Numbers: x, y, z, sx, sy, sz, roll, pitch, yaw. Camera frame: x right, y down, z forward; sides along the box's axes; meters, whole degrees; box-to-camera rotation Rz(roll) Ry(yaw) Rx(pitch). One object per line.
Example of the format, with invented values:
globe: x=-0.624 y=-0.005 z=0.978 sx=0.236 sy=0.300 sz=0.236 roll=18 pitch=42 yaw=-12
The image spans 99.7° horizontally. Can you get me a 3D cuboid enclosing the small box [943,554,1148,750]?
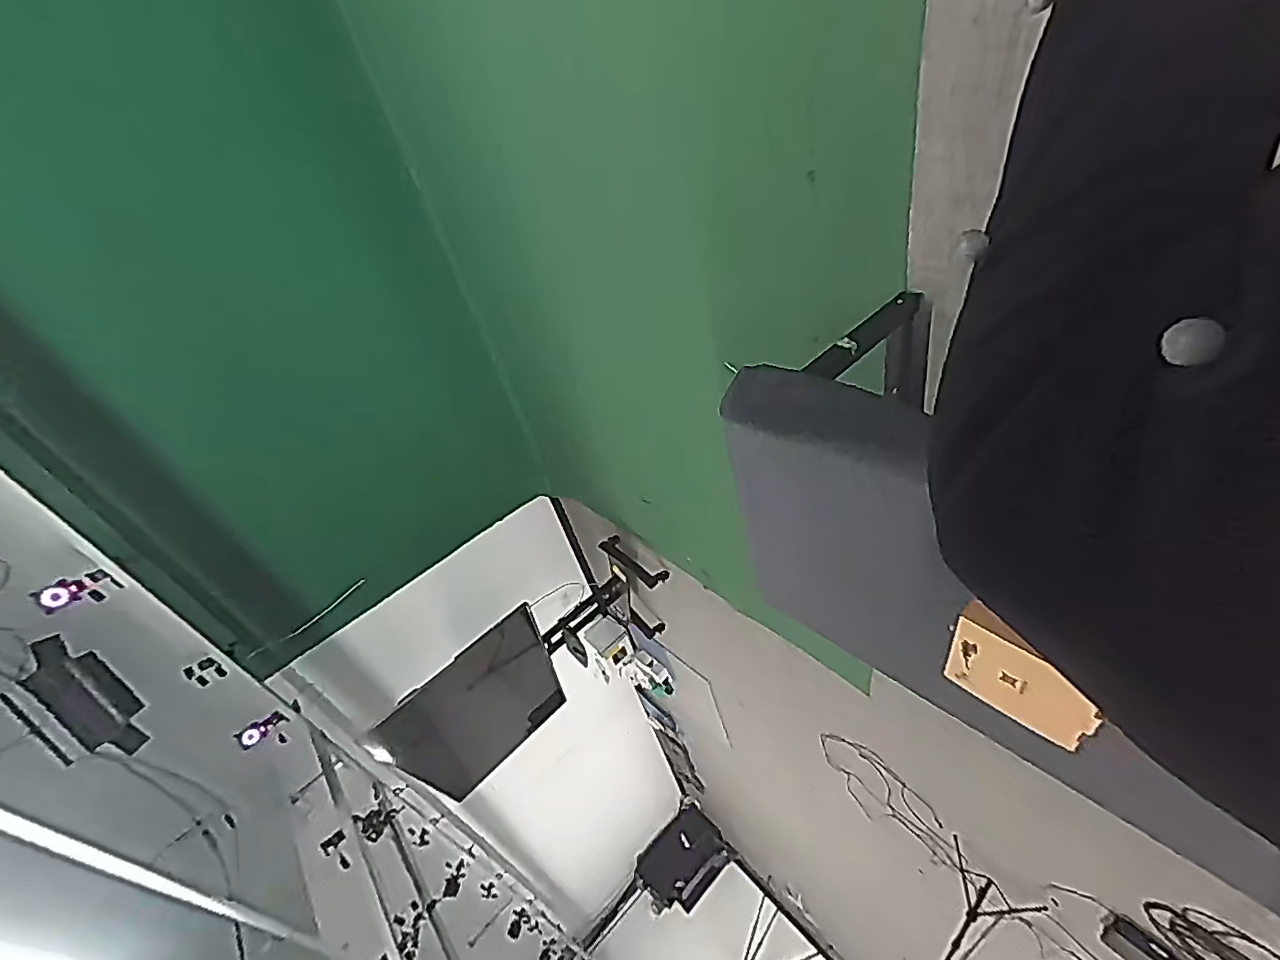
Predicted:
small box: x=0.578 y=0.237 z=0.781 sx=0.179 sy=0.176 sz=0.168 roll=31 pitch=148 yaw=42
